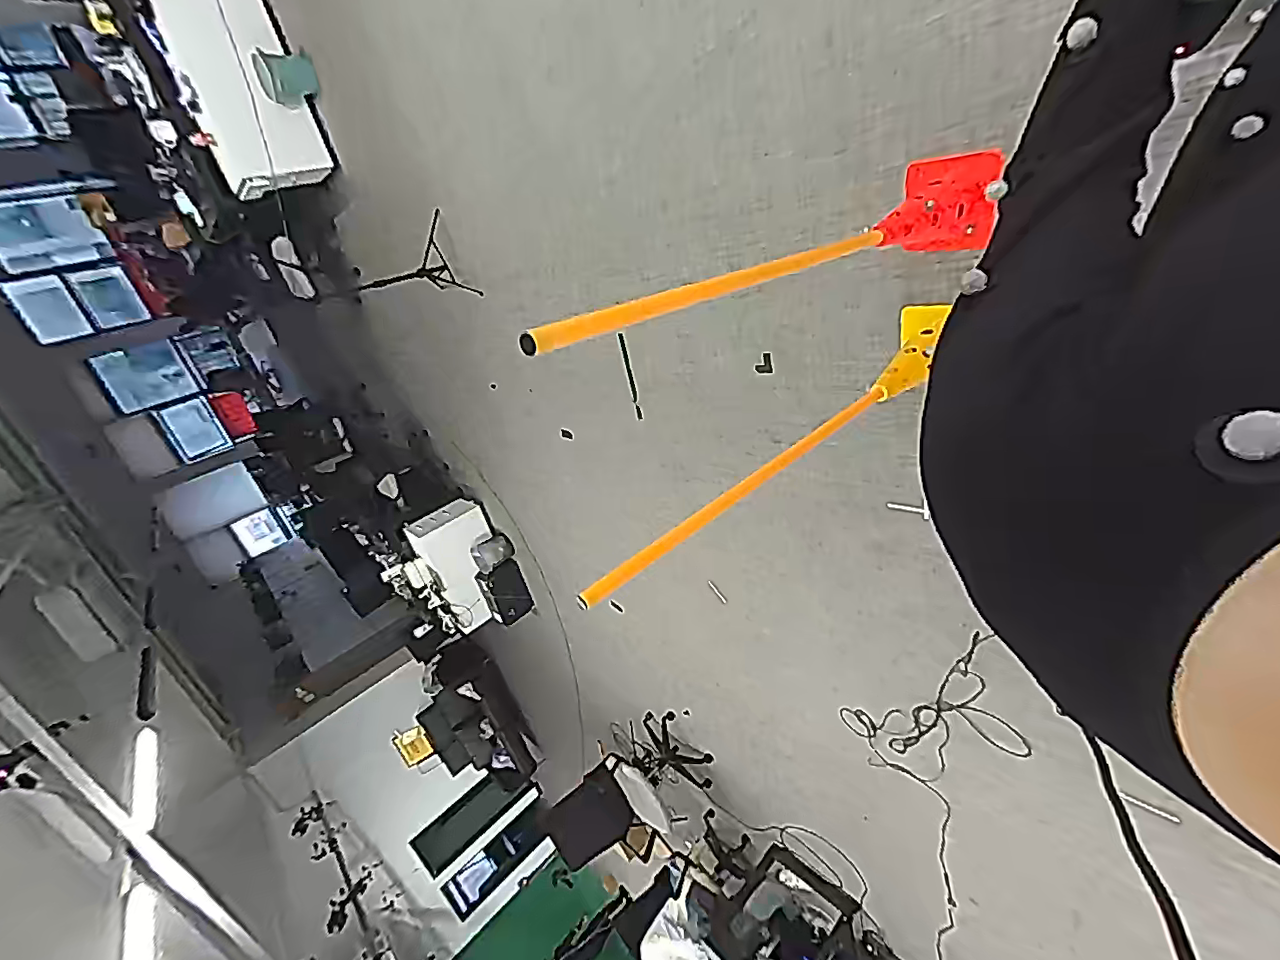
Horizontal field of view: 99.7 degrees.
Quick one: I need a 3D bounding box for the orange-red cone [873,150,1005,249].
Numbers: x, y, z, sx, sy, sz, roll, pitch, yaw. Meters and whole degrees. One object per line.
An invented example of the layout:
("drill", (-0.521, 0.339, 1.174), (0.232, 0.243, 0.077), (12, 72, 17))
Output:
("orange-red cone", (0.595, -0.565, 1.151), (0.198, 0.360, 0.199), (21, 131, 42))
